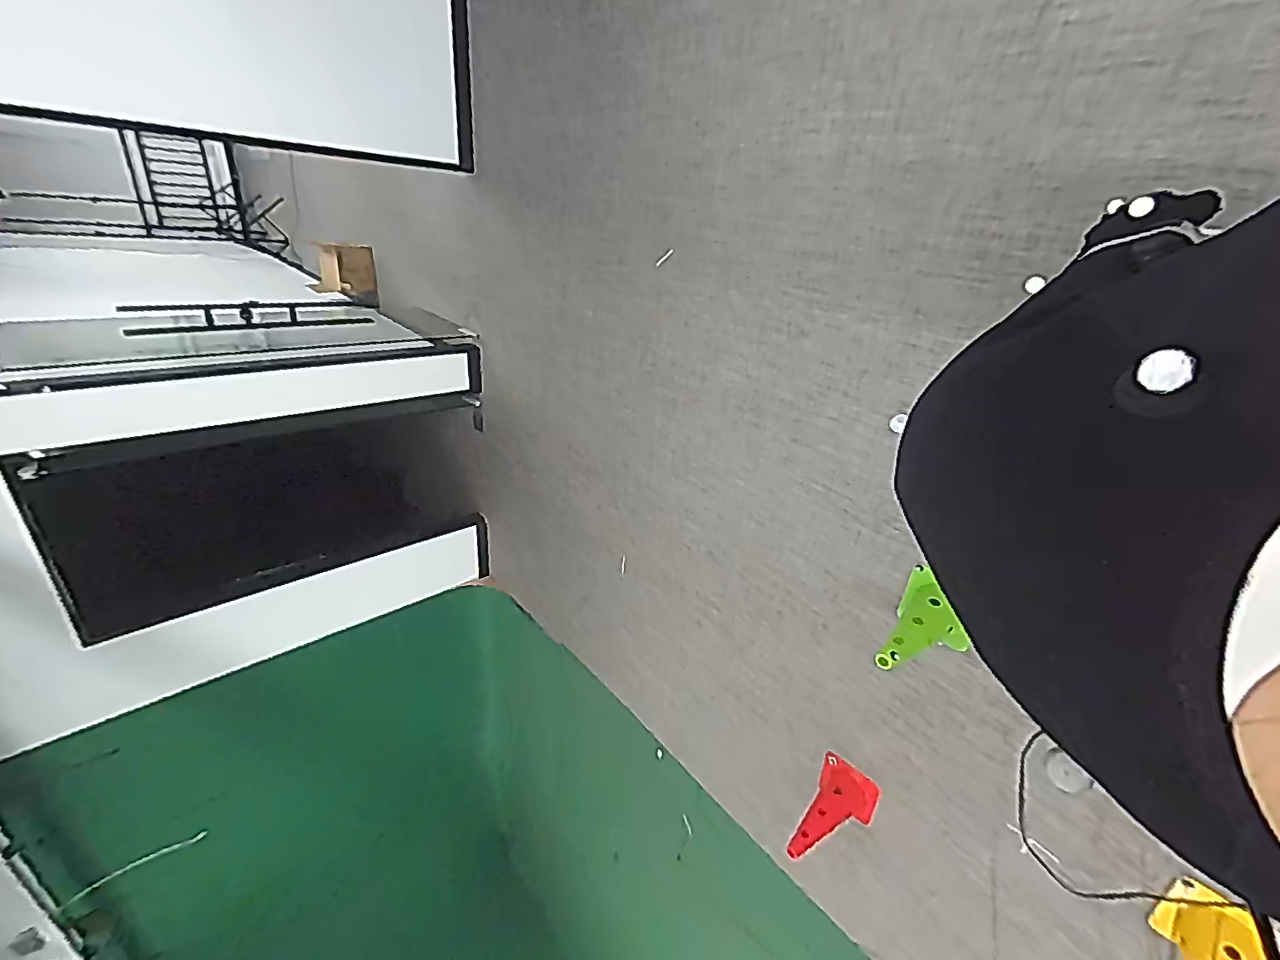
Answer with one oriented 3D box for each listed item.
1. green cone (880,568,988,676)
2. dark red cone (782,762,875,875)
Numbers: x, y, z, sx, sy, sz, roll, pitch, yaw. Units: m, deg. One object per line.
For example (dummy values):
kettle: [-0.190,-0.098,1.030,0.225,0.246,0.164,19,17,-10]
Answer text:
green cone: [0.725,0.412,1.420,0.202,0.368,0.200,28,124,40]
dark red cone: [0.600,1.158,1.802,0.202,0.394,0.201,25,123,43]
